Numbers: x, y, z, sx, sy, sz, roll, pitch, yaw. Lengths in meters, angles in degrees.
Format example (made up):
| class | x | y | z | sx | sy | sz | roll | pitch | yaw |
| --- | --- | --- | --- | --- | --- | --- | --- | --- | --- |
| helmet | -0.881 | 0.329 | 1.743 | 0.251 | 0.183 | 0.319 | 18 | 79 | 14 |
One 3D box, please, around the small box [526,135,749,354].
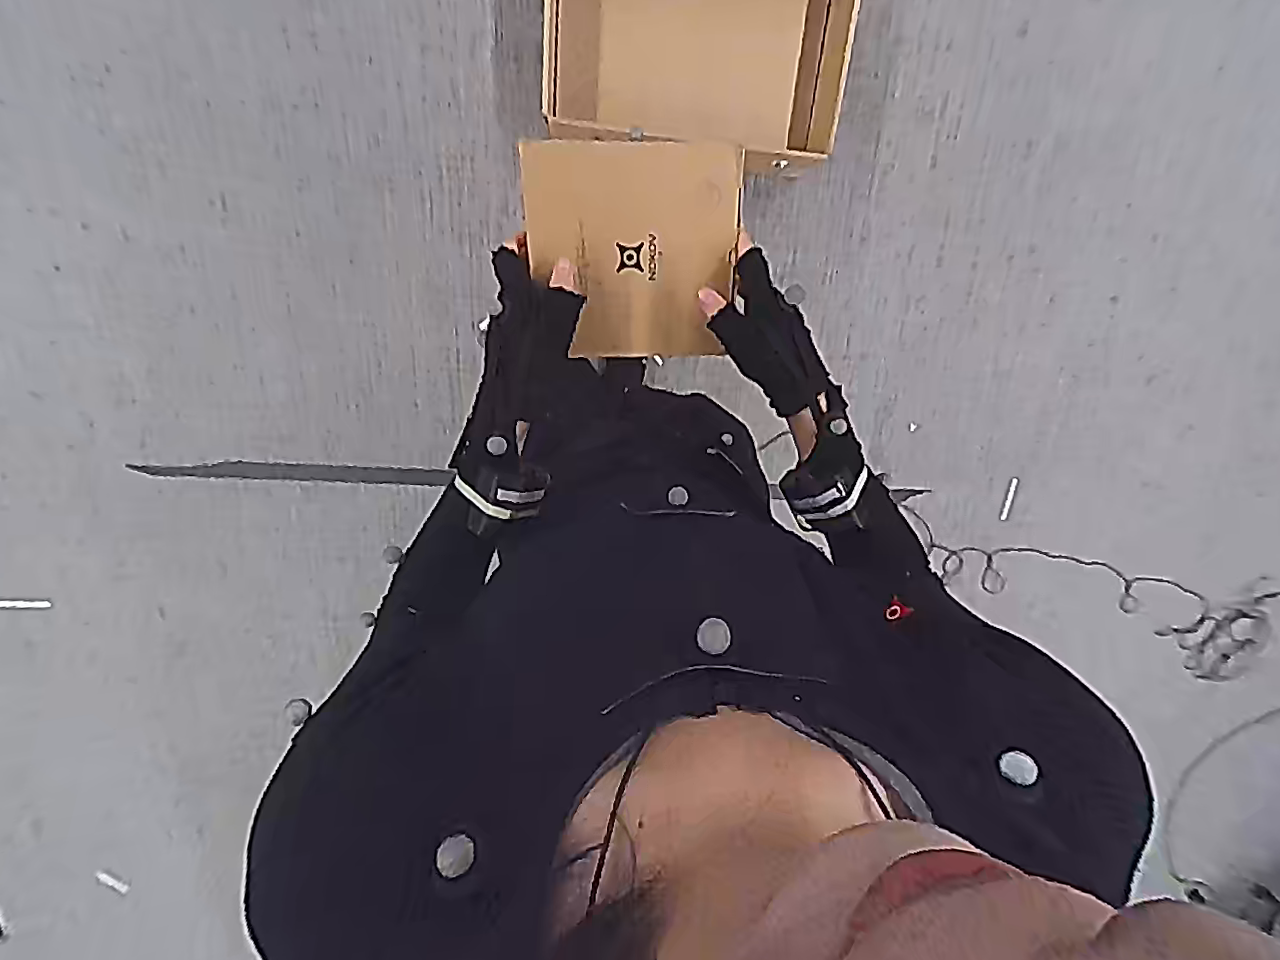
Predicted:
| class | x | y | z | sx | sy | sz | roll | pitch | yaw |
| --- | --- | --- | --- | --- | --- | --- | --- | --- | --- |
| small box | -0.006 | -0.221 | 0.518 | 0.179 | 0.176 | 0.168 | -3 | 113 | -3 |
